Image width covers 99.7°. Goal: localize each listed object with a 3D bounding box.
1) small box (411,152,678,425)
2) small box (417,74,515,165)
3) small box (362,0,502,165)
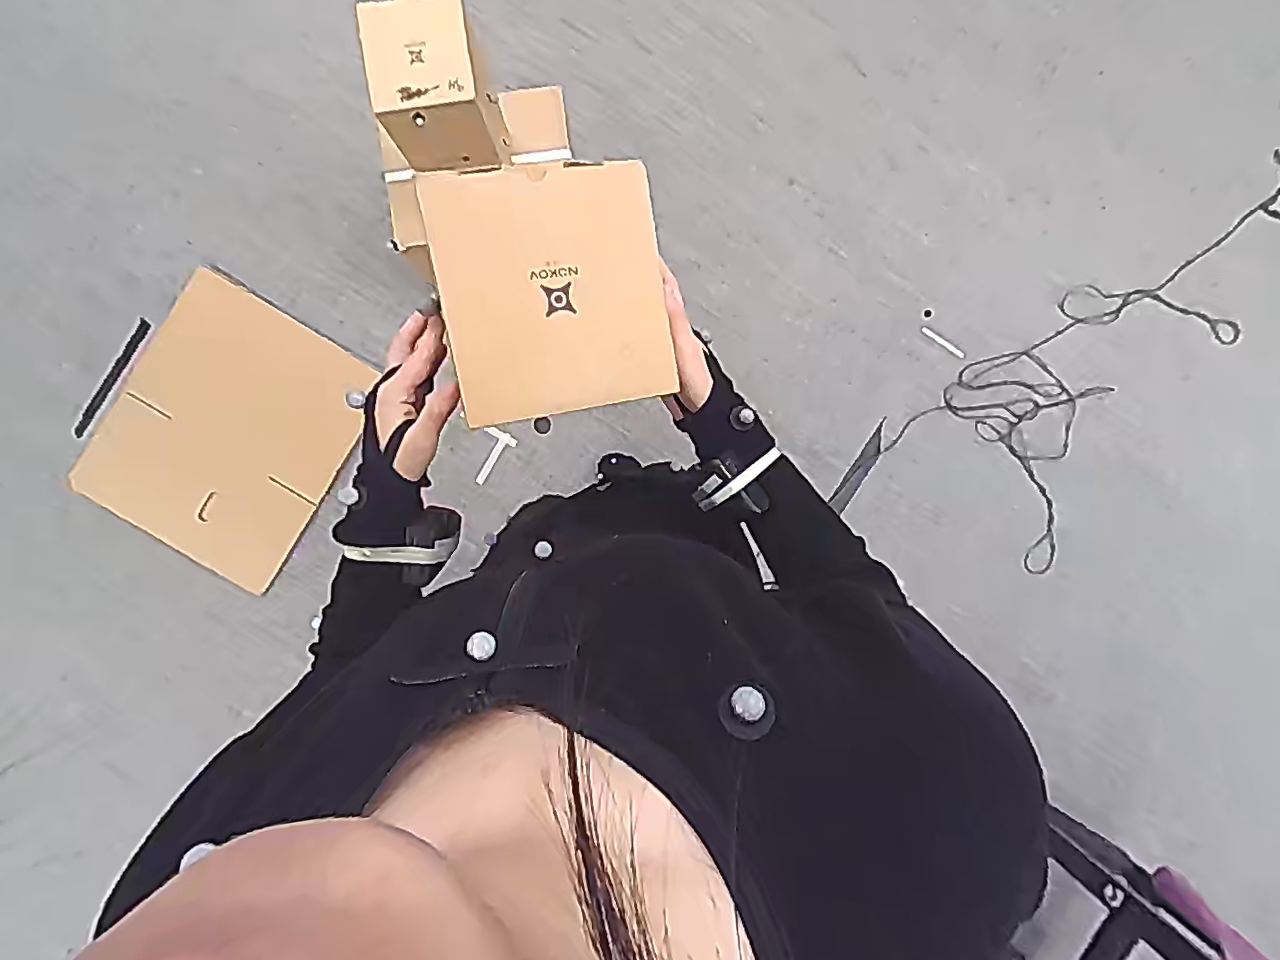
[{"bbox_3d":[-0.082,-0.147,0.465,0.168,0.176,0.179,-13,98,-15],"label":"small box"},{"bbox_3d":[-0.349,-0.668,1.093,0.168,0.176,0.179,-9,91,-1],"label":"small box"},{"bbox_3d":[-0.346,-0.671,0.928,0.168,0.176,0.179,-9,90,-1],"label":"small box"}]
